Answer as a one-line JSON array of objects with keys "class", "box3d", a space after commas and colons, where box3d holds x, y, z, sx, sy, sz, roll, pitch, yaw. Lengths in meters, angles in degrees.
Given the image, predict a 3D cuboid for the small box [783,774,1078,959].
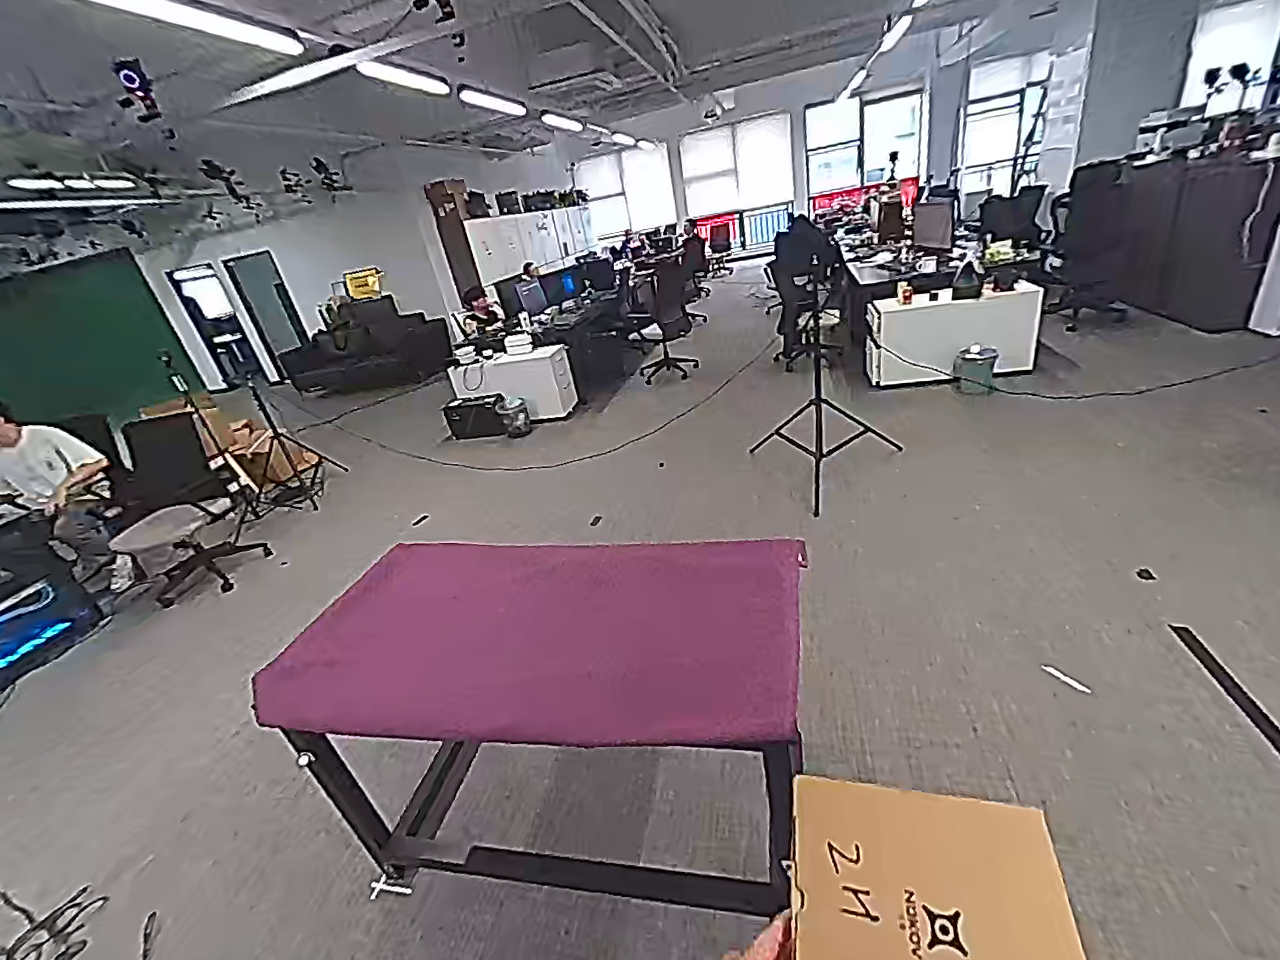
[{"class": "small box", "box3d": [0.199, 0.350, 0.406, 0.179, 0.176, 0.168, 0, 42, 16]}]
